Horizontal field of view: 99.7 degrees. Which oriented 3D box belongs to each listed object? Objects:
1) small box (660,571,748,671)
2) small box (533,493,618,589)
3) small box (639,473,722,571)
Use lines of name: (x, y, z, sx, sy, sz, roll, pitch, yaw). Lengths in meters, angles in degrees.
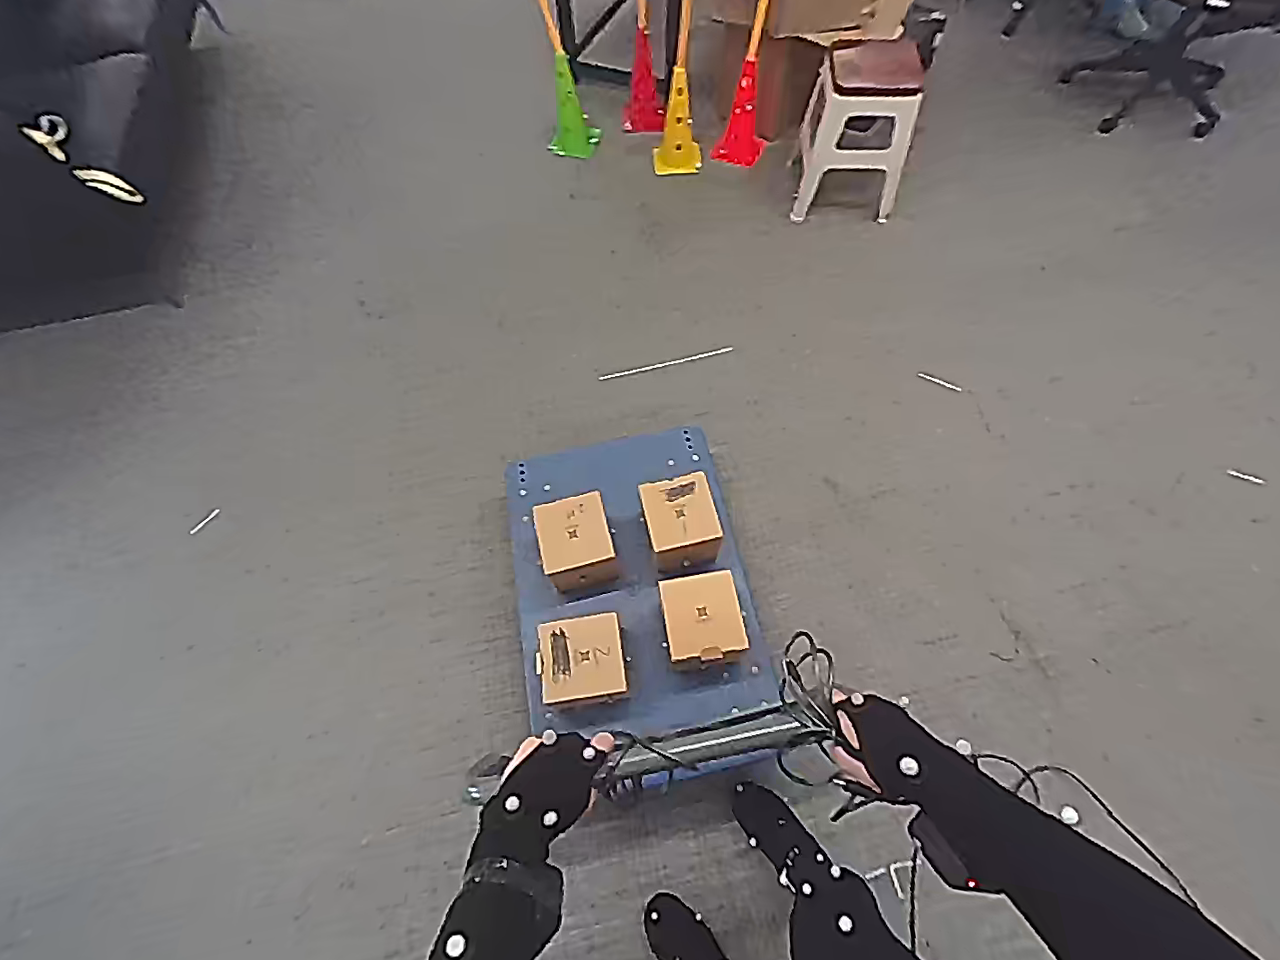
small box: (0.137, 0.326, 1.237, 0.168, 0.176, 0.179, -10, 65, -1)
small box: (-0.155, 0.158, 1.332, 0.168, 0.176, 0.179, -14, 64, -4)
small box: (0.096, 0.108, 1.342, 0.168, 0.176, 0.179, -13, 65, -2)
